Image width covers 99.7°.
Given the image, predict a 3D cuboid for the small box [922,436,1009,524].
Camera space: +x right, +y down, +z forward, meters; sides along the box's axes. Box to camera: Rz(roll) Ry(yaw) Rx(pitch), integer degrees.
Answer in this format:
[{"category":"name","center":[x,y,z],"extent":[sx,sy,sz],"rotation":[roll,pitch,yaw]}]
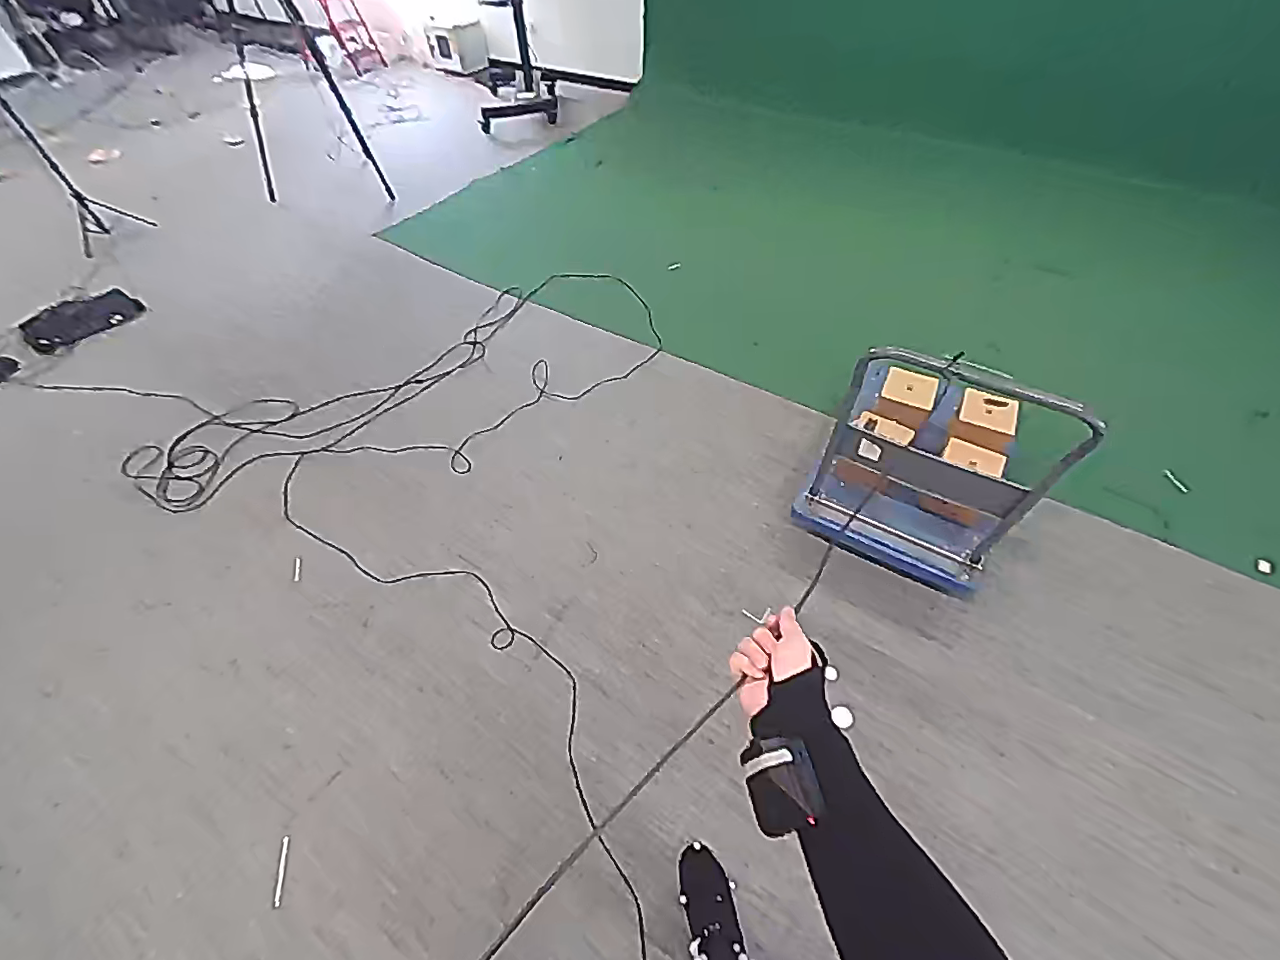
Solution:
[{"category":"small box","center":[1.012,0.001,1.690],"extent":[0.168,0.176,0.179],"rotation":[26,57,21]}]

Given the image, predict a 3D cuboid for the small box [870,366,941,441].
[{"category":"small box","center":[0.932,-0.267,1.910],"extent":[0.168,0.176,0.179],"rotation":[22,55,18]}]

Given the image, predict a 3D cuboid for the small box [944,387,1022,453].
[{"category":"small box","center":[1.155,-0.180,1.830],"extent":[0.168,0.176,0.179],"rotation":[21,56,19]}]
